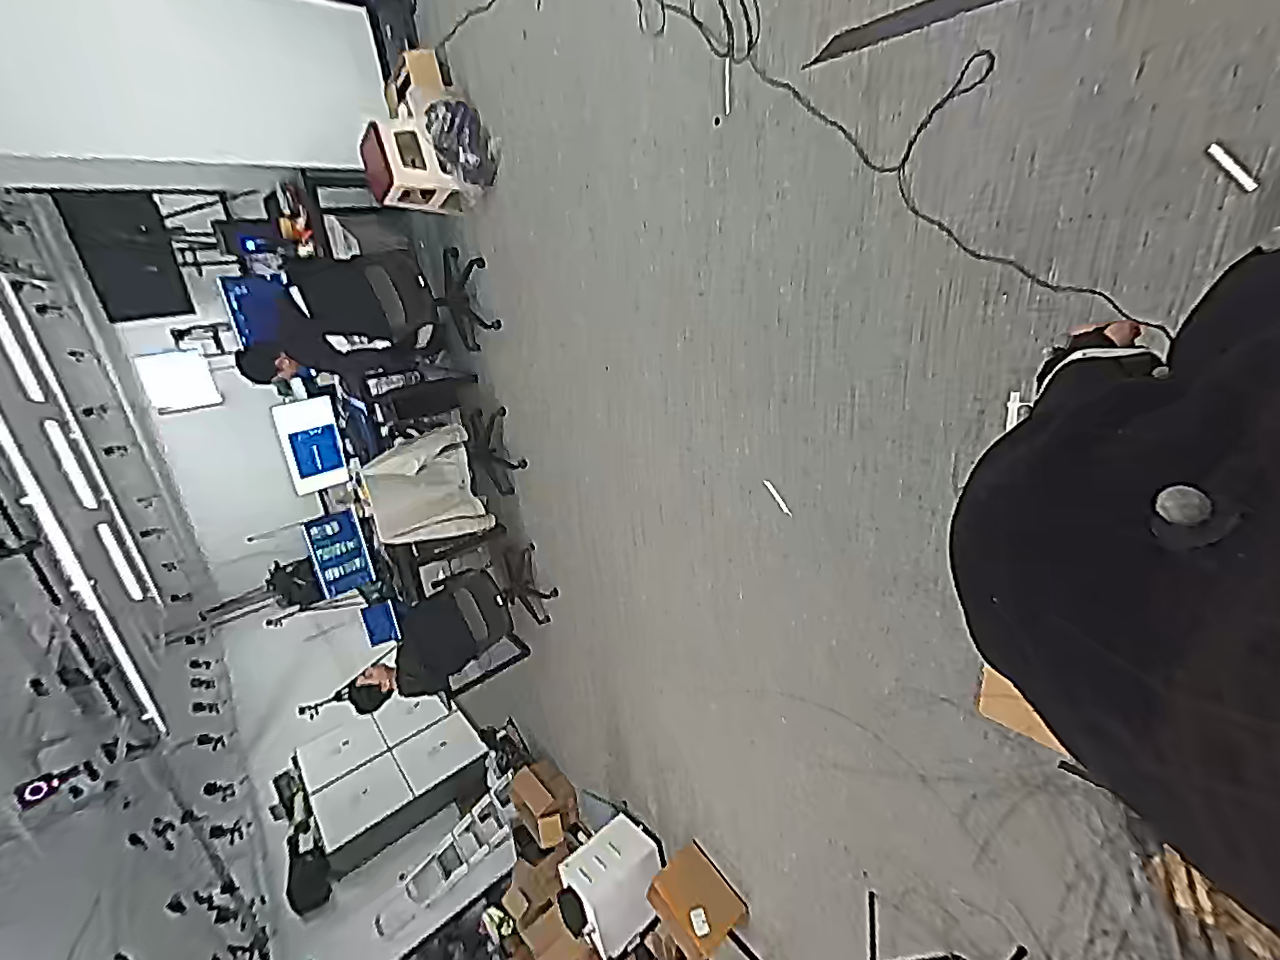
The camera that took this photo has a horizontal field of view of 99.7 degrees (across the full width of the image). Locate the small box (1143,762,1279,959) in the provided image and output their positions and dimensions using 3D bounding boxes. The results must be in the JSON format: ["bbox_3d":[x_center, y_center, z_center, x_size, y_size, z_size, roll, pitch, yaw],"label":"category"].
[{"bbox_3d":[0.997,0.630,0.912,0.168,0.176,0.179,20,122,46],"label":"small box"}]
